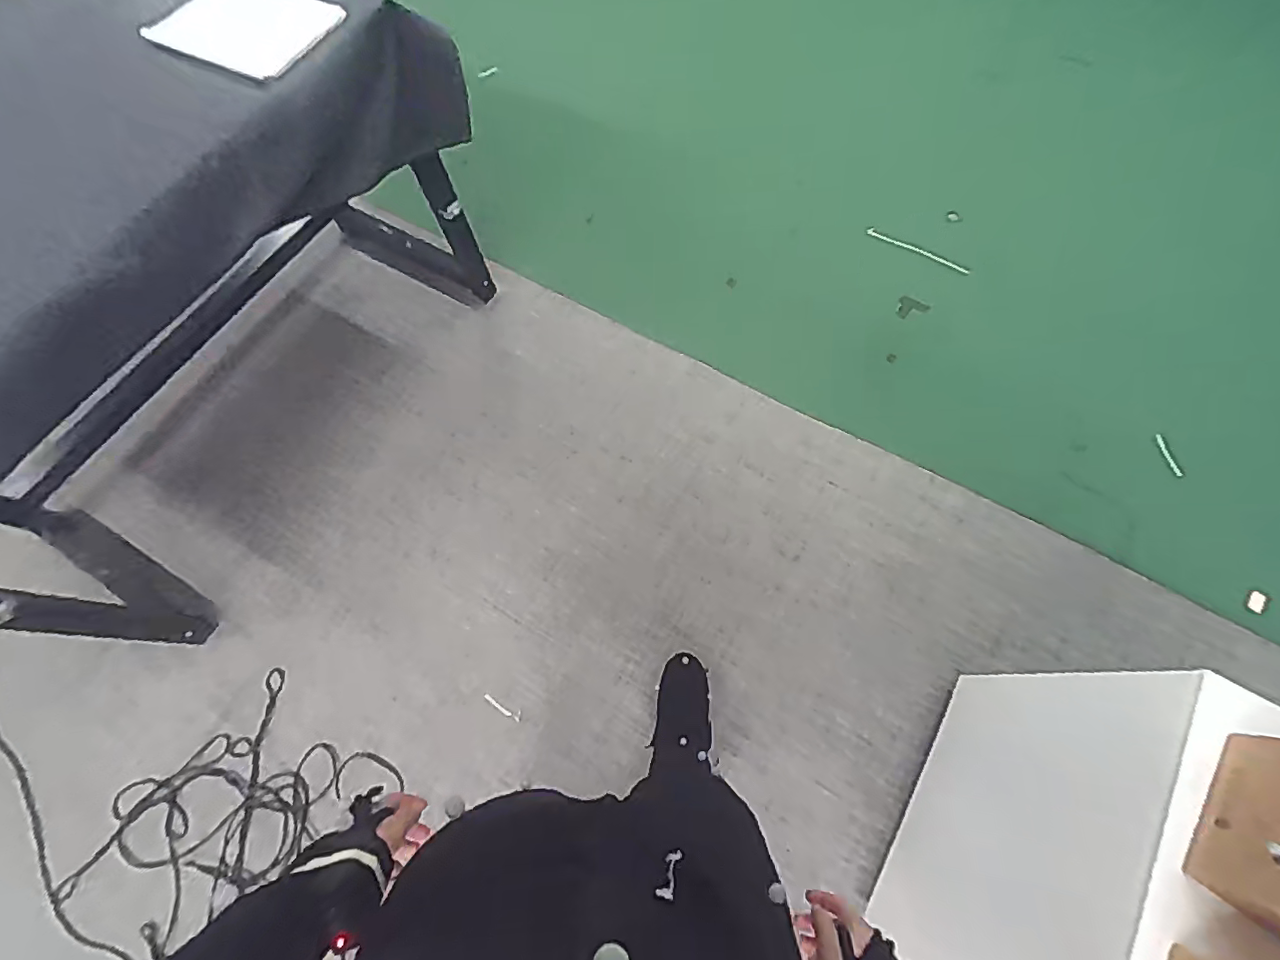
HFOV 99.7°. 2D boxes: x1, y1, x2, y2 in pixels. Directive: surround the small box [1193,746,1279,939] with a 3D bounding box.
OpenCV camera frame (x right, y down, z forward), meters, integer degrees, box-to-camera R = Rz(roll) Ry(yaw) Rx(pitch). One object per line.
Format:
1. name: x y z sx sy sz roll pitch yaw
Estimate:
1. small box: 0.676 0.366 0.486 0.179 0.176 0.168 34 75 12
